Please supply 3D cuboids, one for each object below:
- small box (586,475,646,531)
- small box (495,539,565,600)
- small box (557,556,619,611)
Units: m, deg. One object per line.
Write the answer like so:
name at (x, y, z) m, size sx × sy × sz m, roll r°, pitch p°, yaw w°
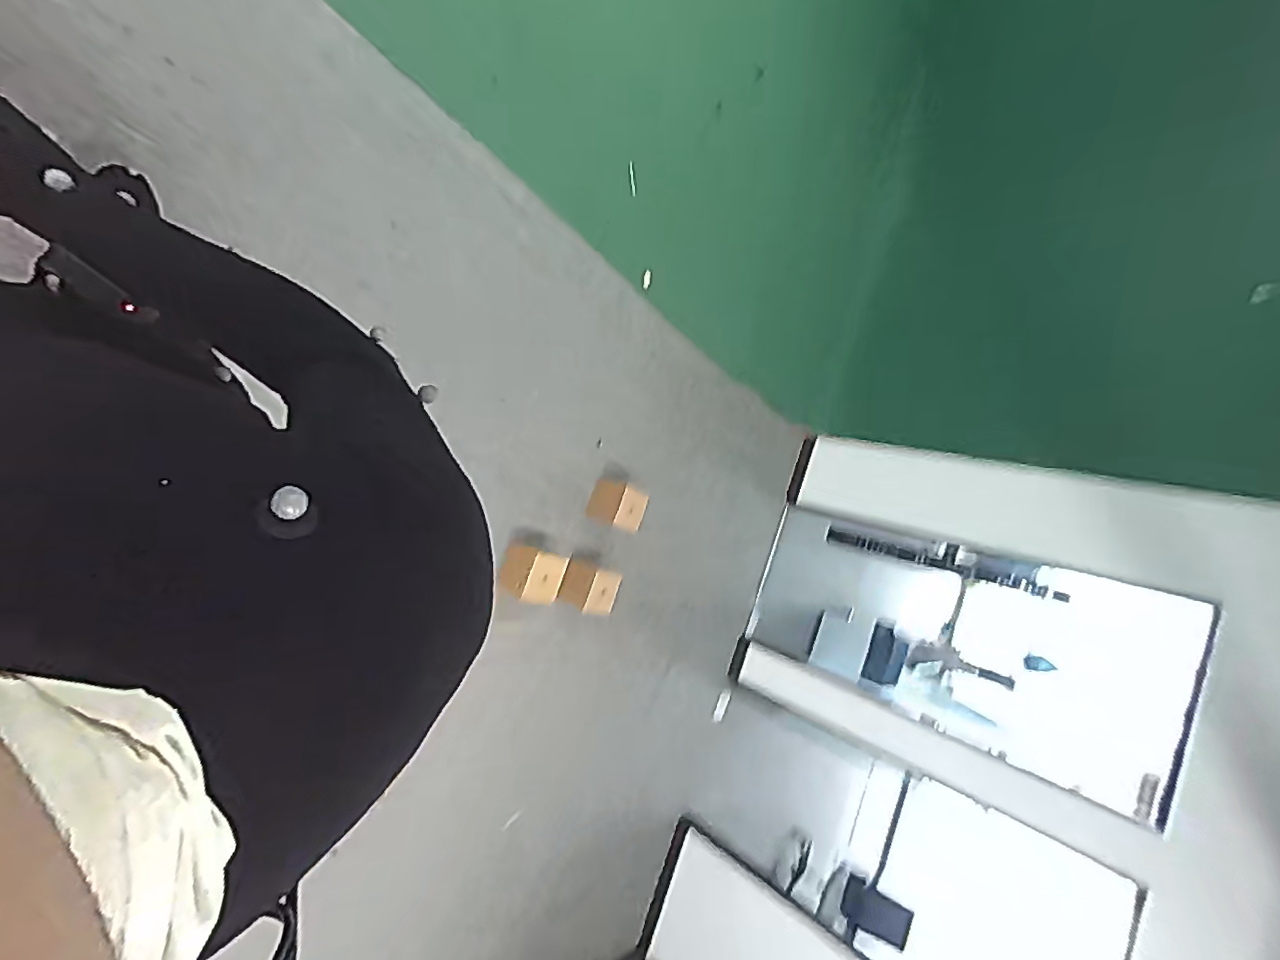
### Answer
small box at (-0.108, 0.097, 2.304) m, size 0.168 × 0.176 × 0.179 m, roll 26°, pitch 81°, yaw -50°
small box at (-0.416, 0.334, 2.032) m, size 0.168 × 0.176 × 0.179 m, roll 24°, pitch 84°, yaw -49°
small box at (-0.224, 0.434, 2.275) m, size 0.168 × 0.176 × 0.179 m, roll 25°, pitch 83°, yaw -49°
